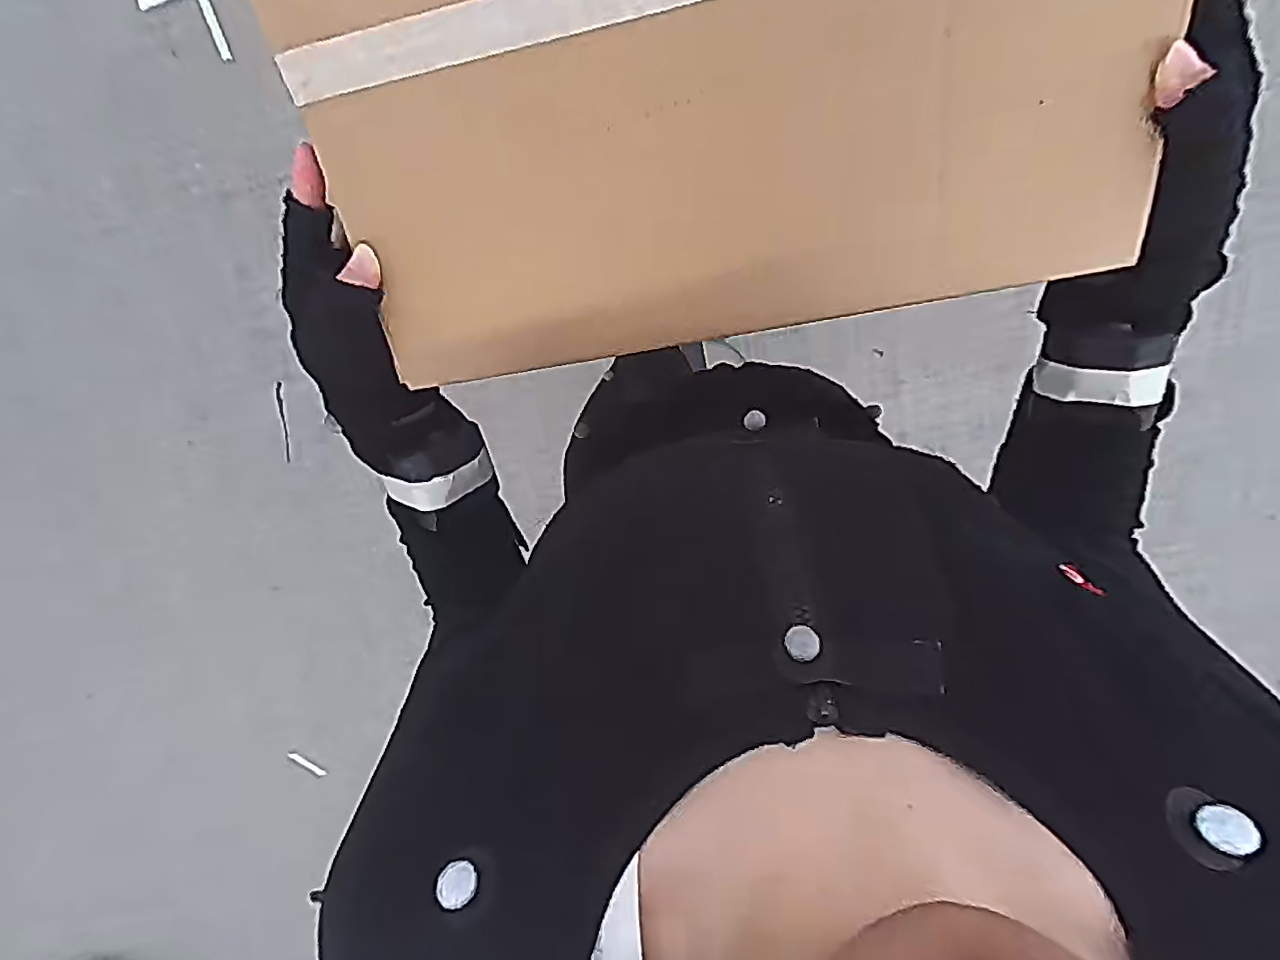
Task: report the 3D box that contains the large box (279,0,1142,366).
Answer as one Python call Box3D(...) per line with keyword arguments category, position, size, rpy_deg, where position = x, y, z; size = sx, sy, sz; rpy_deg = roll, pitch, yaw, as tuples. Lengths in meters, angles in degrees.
Box3D(category="large box", position=(0.030, -0.299, 0.384), size=(0.408, 0.320, 0.320), rpy_deg=(-8, 116, 7))
